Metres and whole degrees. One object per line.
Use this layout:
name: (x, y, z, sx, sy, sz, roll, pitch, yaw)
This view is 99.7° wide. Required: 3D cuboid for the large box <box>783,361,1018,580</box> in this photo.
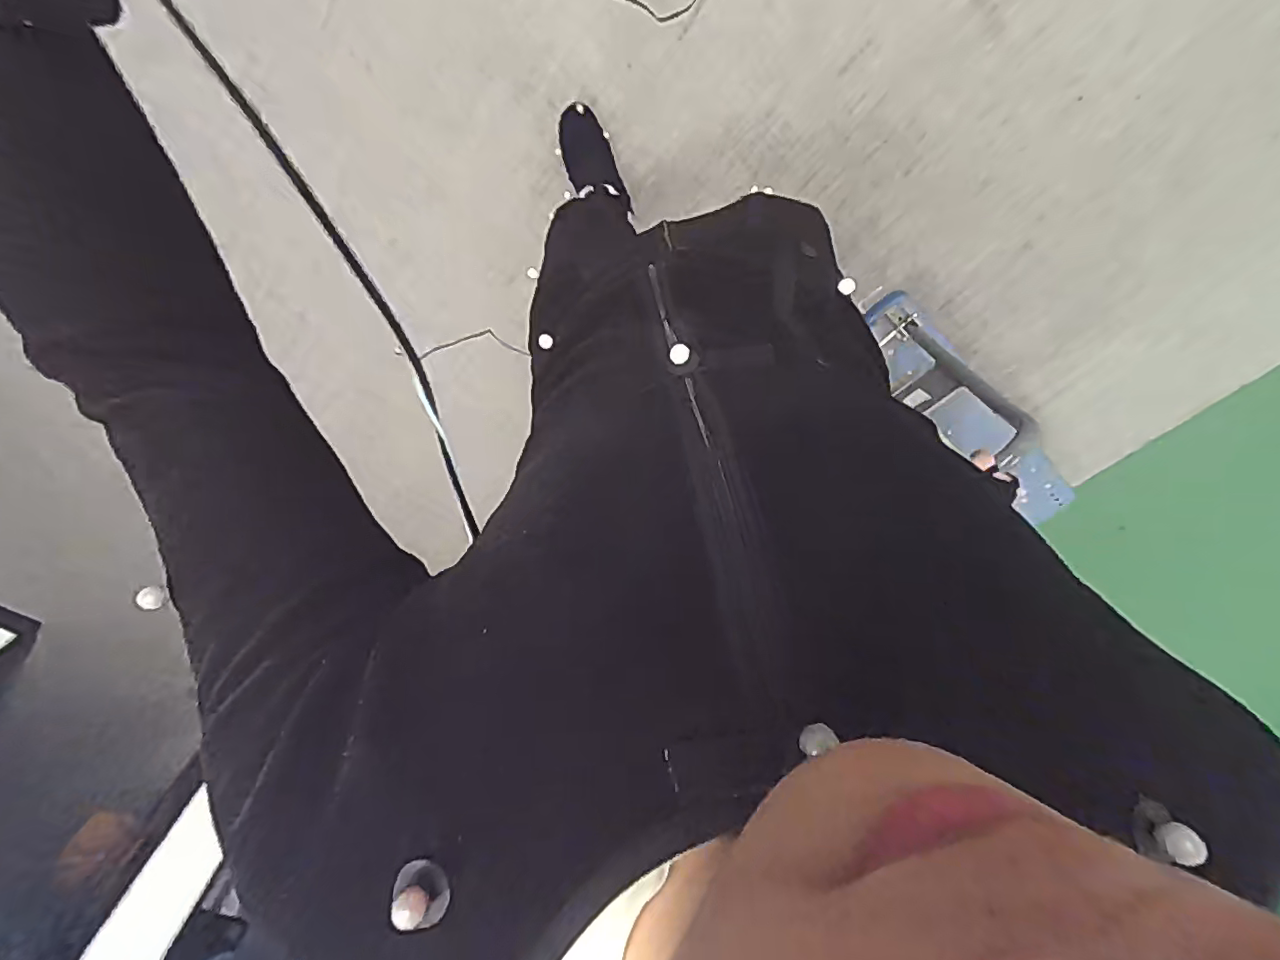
large box: (0.636, -0.027, 1.382, 0.408, 0.320, 0.320, 37, 118, -19)
